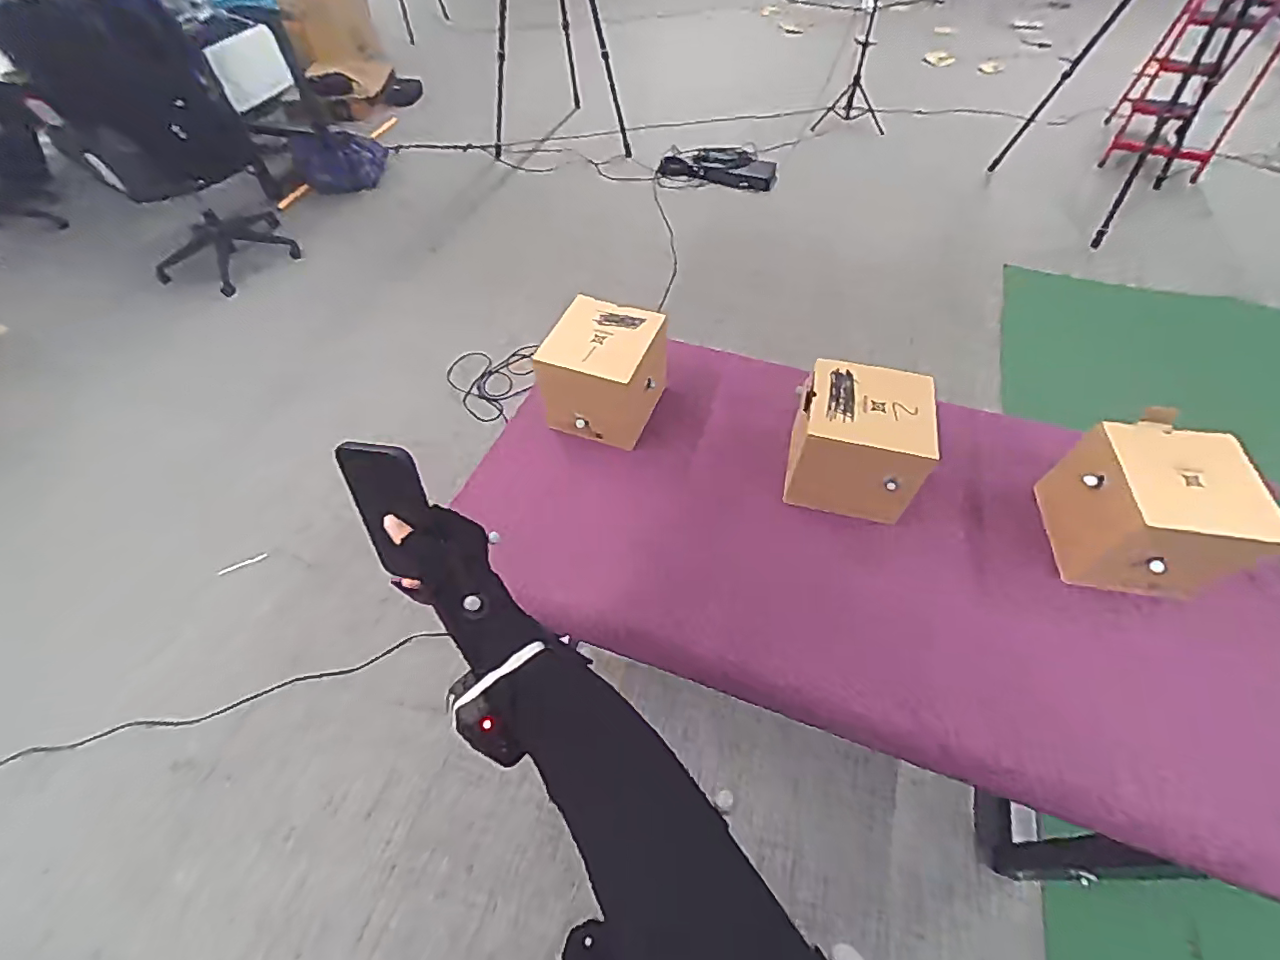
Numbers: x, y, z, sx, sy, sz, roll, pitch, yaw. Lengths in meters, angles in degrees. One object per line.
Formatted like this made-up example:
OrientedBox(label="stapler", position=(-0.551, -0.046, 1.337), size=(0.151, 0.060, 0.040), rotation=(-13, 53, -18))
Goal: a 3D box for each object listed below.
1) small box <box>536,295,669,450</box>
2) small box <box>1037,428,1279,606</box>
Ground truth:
OrientedBox(label="small box", position=(-0.058, -0.184, 0.935), size=(0.168, 0.176, 0.179), rotation=(18, 57, 14))
OrientedBox(label="small box", position=(0.698, 0.055, 0.750), size=(0.168, 0.176, 0.179), rotation=(8, 53, 7))
